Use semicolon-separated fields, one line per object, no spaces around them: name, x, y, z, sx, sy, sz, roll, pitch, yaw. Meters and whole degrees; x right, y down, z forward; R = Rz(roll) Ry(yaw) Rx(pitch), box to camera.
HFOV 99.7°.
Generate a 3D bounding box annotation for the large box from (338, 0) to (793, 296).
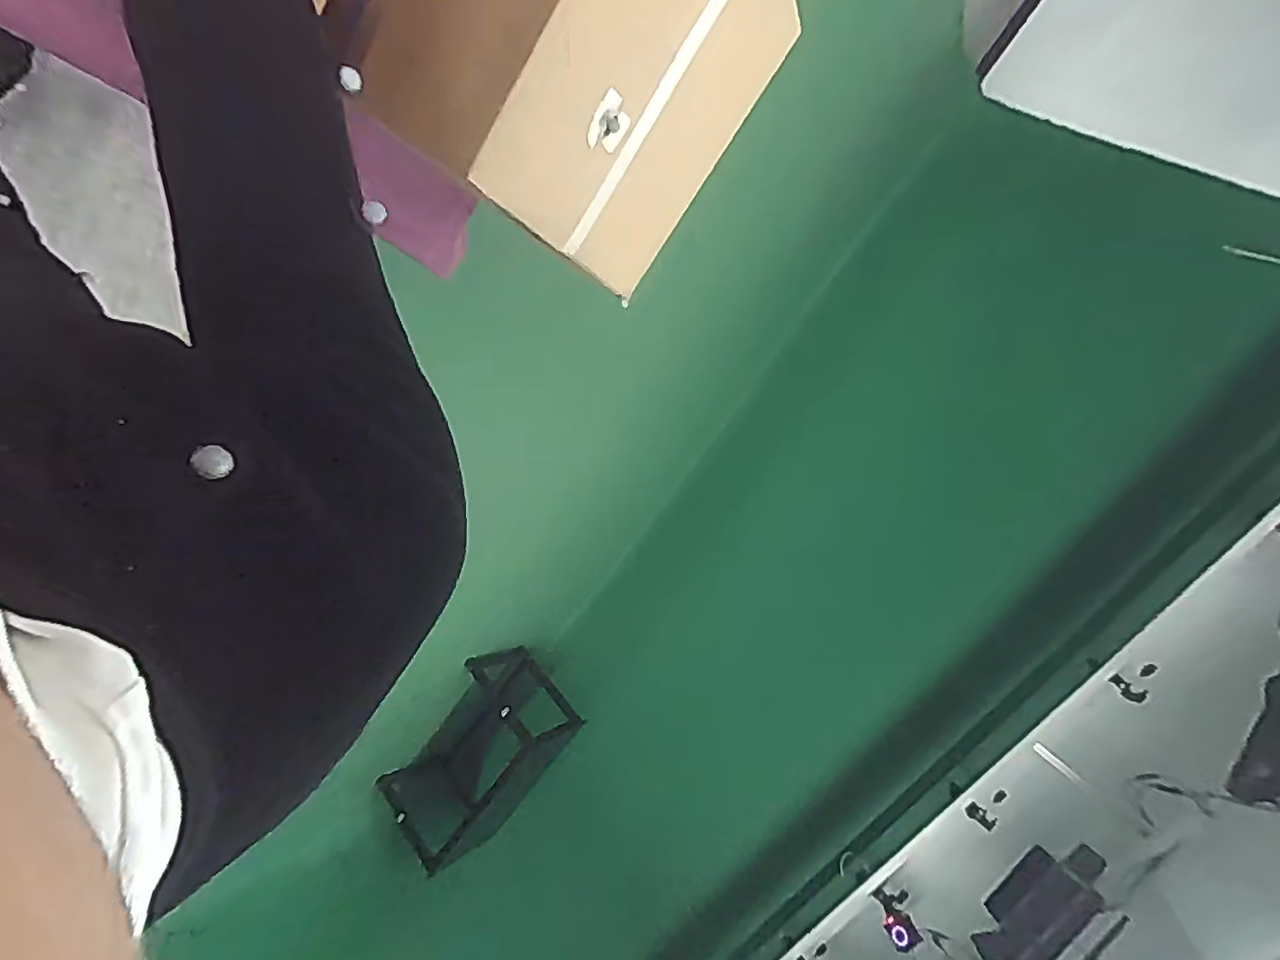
large box;-0.085;-0.526;0.669;0.408;0.320;0.320;-54;153;14
